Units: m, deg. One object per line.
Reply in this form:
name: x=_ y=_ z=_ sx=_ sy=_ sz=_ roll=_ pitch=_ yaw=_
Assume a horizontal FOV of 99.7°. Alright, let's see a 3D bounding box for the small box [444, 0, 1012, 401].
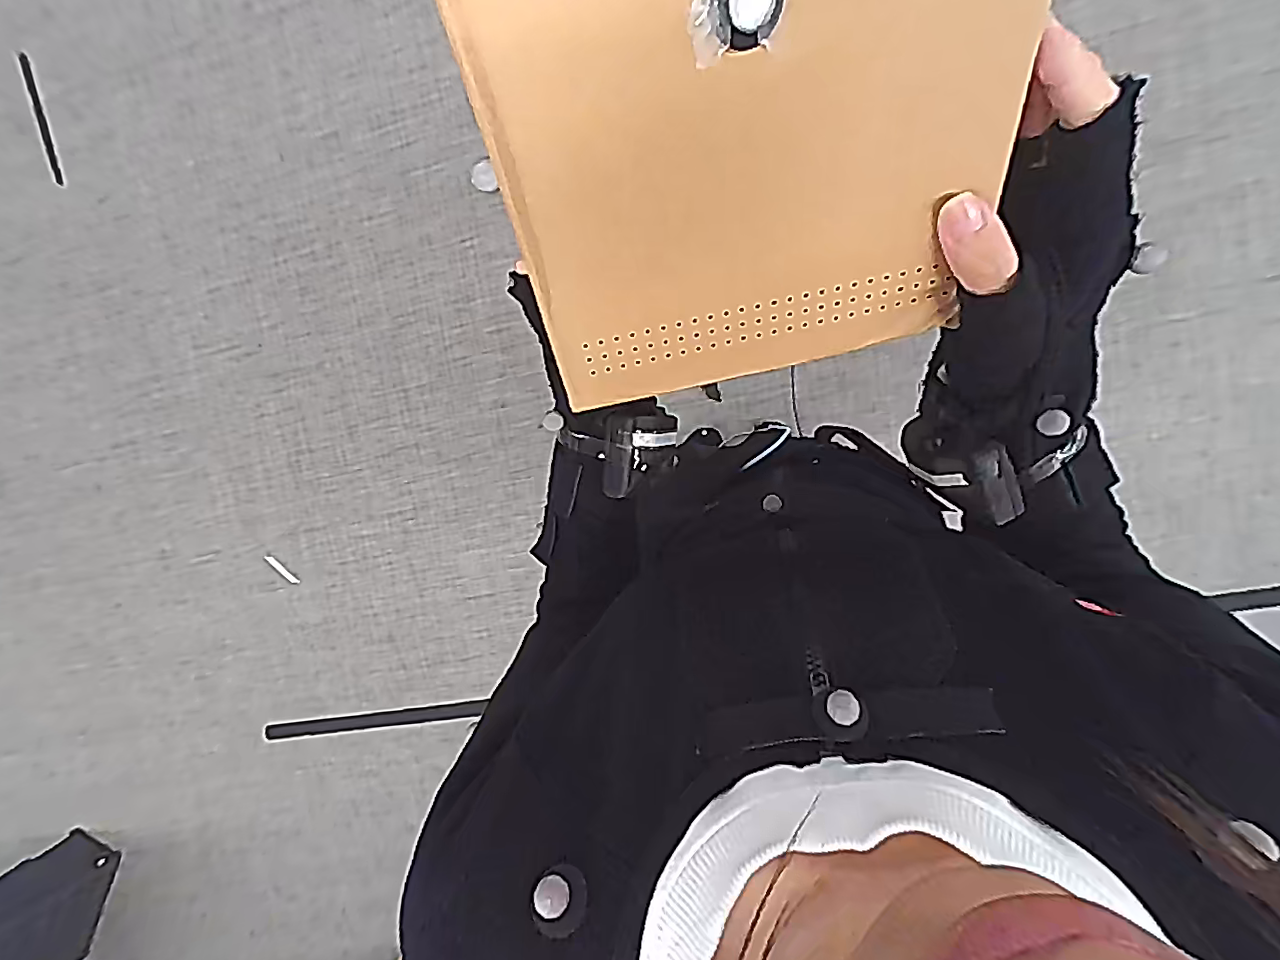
small box: x=0.034 y=-0.155 z=0.243 sx=0.179 sy=0.168 sz=0.176 roll=-11 pitch=134 yaw=3
